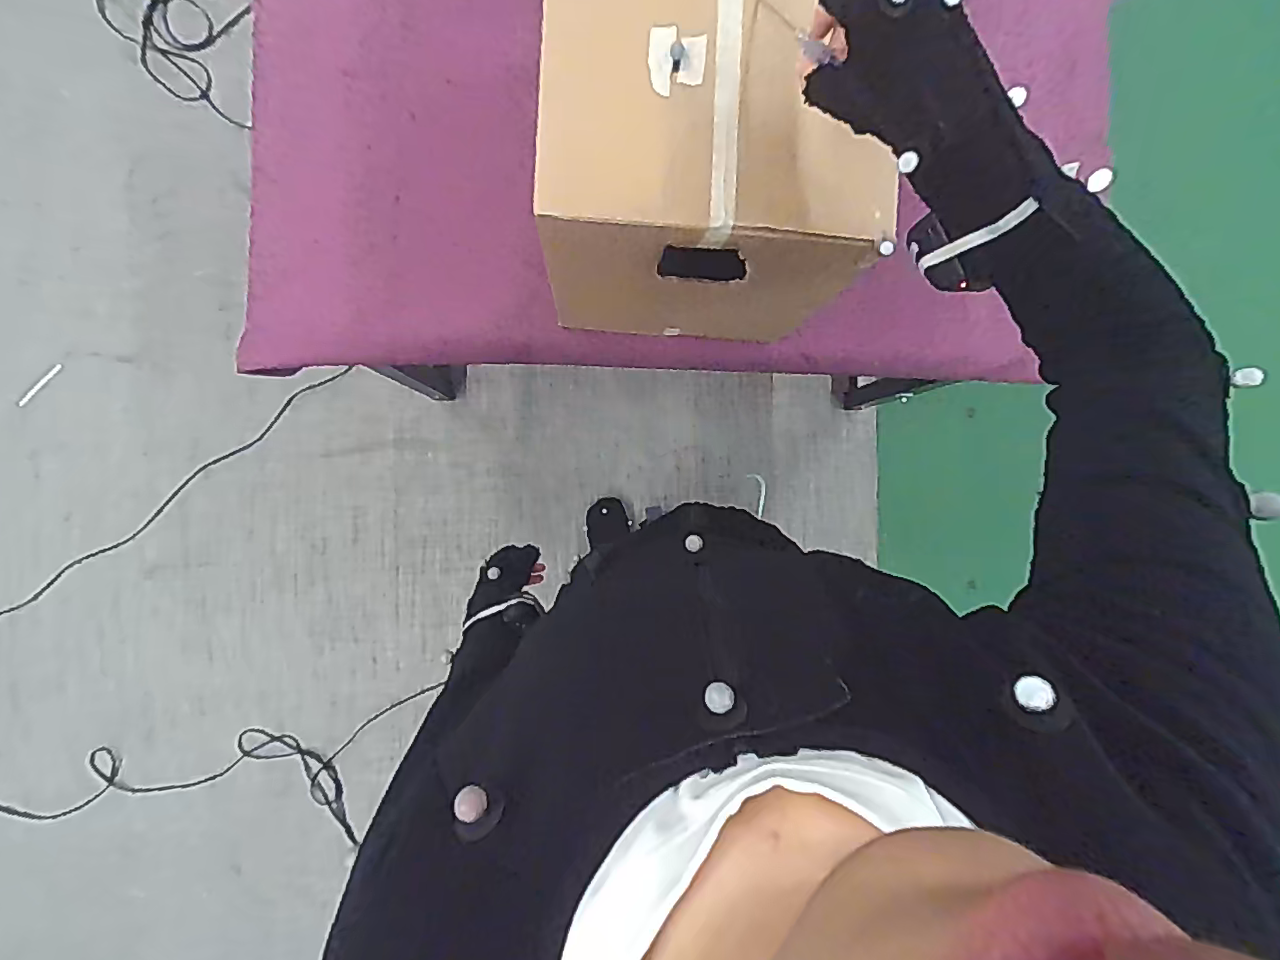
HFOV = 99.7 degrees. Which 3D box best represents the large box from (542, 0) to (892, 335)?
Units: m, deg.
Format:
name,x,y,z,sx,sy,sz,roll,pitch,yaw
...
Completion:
name,x,y,z,sx,sy,sz,roll,pitch,yaw
large box,0.062,-0.415,0.624,0.320,0.320,0.408,3,90,-4
